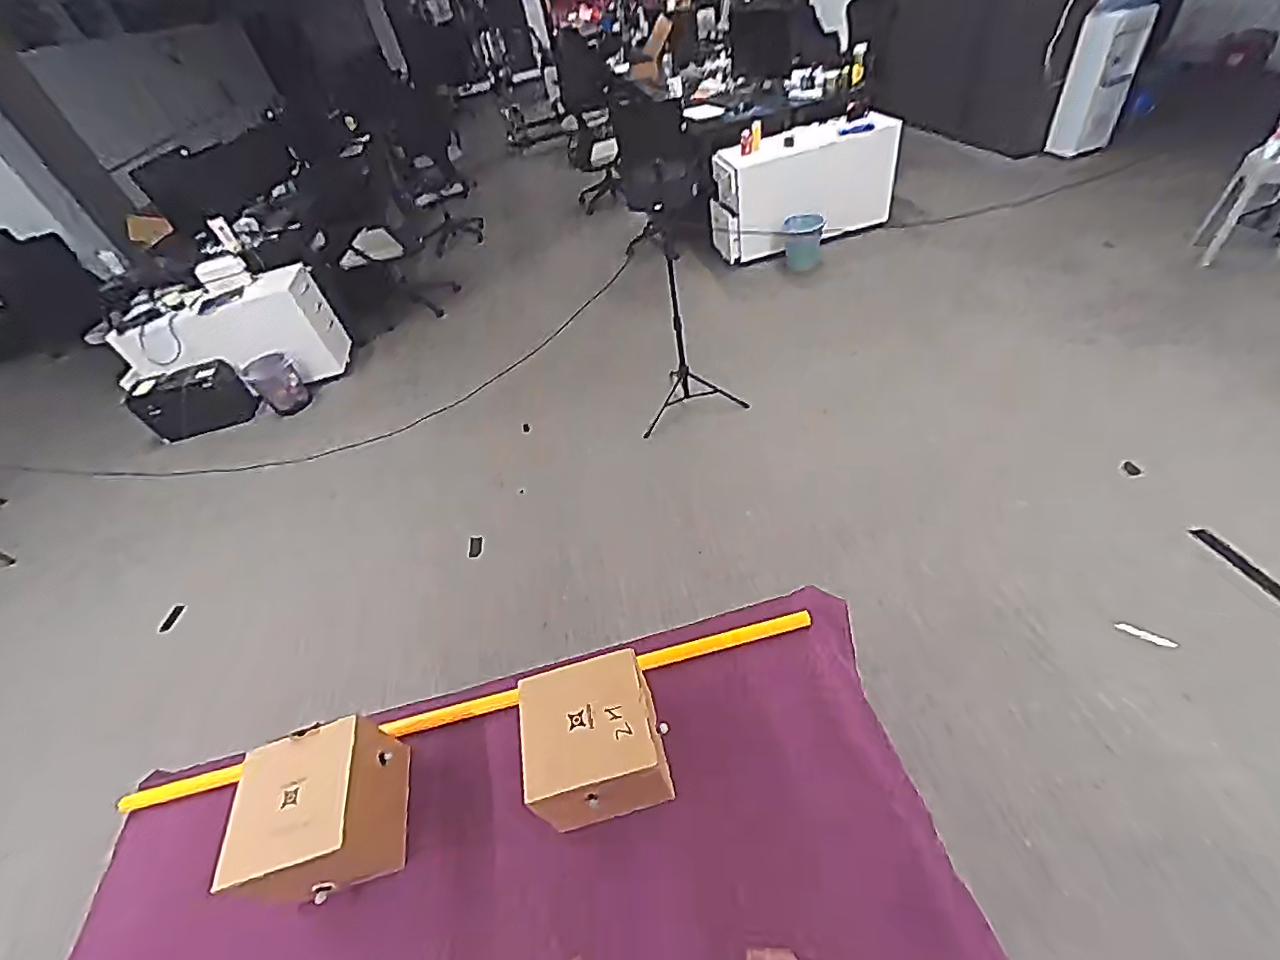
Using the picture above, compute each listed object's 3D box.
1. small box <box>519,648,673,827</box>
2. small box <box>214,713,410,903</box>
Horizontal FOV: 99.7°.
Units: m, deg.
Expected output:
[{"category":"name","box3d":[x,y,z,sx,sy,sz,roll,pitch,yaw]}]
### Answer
[{"category":"small box","box3d":[-0.063,0.377,0.784,0.179,0.176,0.168,-15,46,-1]},{"category":"small box","box3d":[-0.452,0.475,0.783,0.168,0.176,0.179,-18,45,-3]}]
